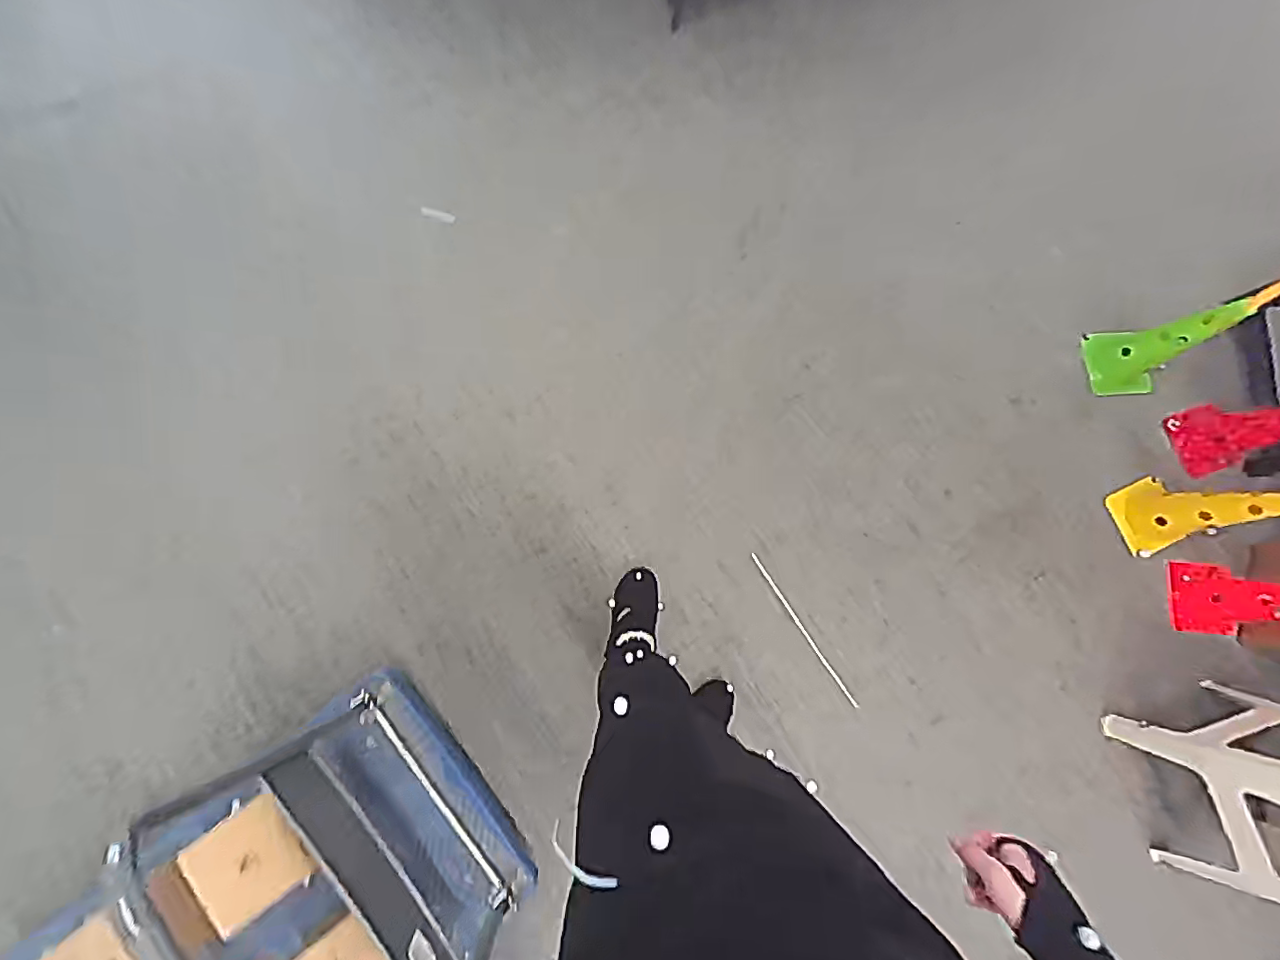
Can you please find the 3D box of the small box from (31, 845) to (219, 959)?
[{"bbox_3d":[-0.899,0.809,0.979,0.179,0.176,0.168,-38,86,-12],"label":"small box"}]

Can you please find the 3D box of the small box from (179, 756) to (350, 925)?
[{"bbox_3d":[-0.699,0.669,1.029,0.179,0.176,0.168,-35,85,-11],"label":"small box"}]
